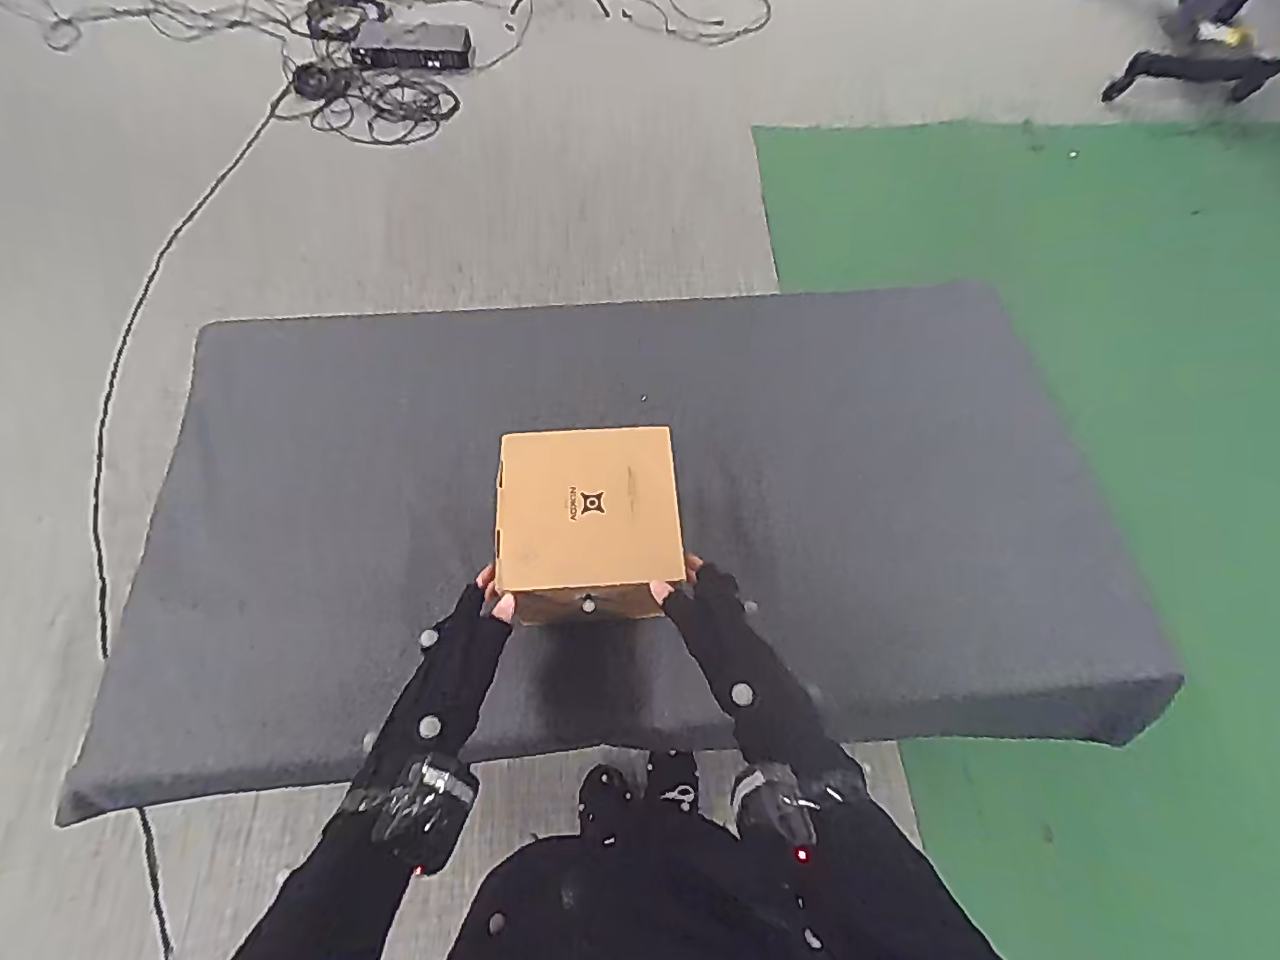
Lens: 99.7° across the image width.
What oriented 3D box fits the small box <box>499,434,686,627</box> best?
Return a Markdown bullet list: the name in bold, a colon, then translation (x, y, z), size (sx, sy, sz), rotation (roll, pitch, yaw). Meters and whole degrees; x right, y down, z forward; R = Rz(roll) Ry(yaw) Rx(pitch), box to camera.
- **small box**: translation (-0.052, 0.063, 0.602), size (0.179, 0.176, 0.168), rotation (-3, 66, -5)
